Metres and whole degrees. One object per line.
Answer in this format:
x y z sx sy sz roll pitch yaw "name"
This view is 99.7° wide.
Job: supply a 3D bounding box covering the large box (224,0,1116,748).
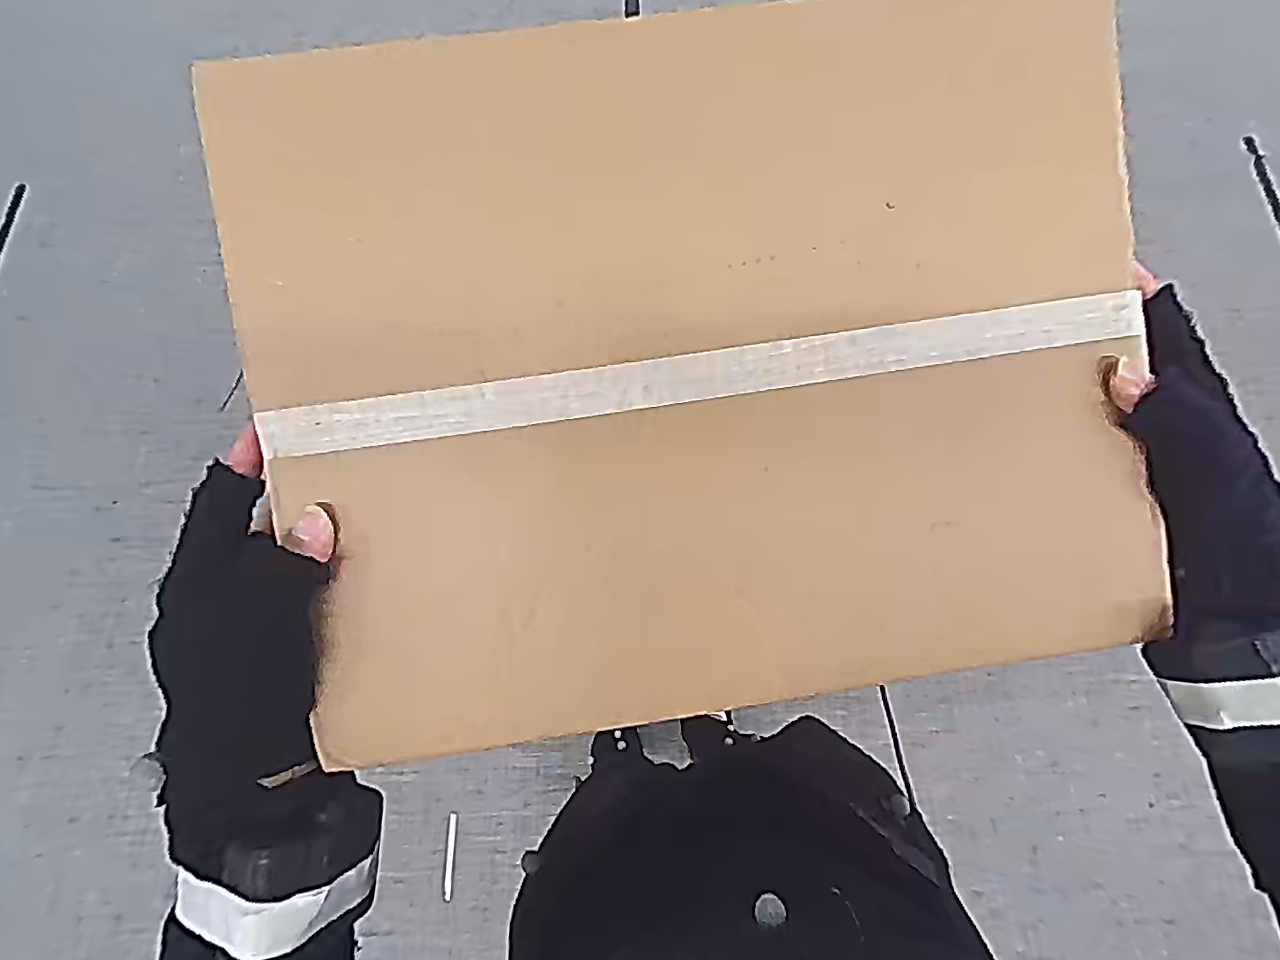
0.023 -0.059 0.408 0.408 0.320 0.320 -8 93 -2 "large box"
